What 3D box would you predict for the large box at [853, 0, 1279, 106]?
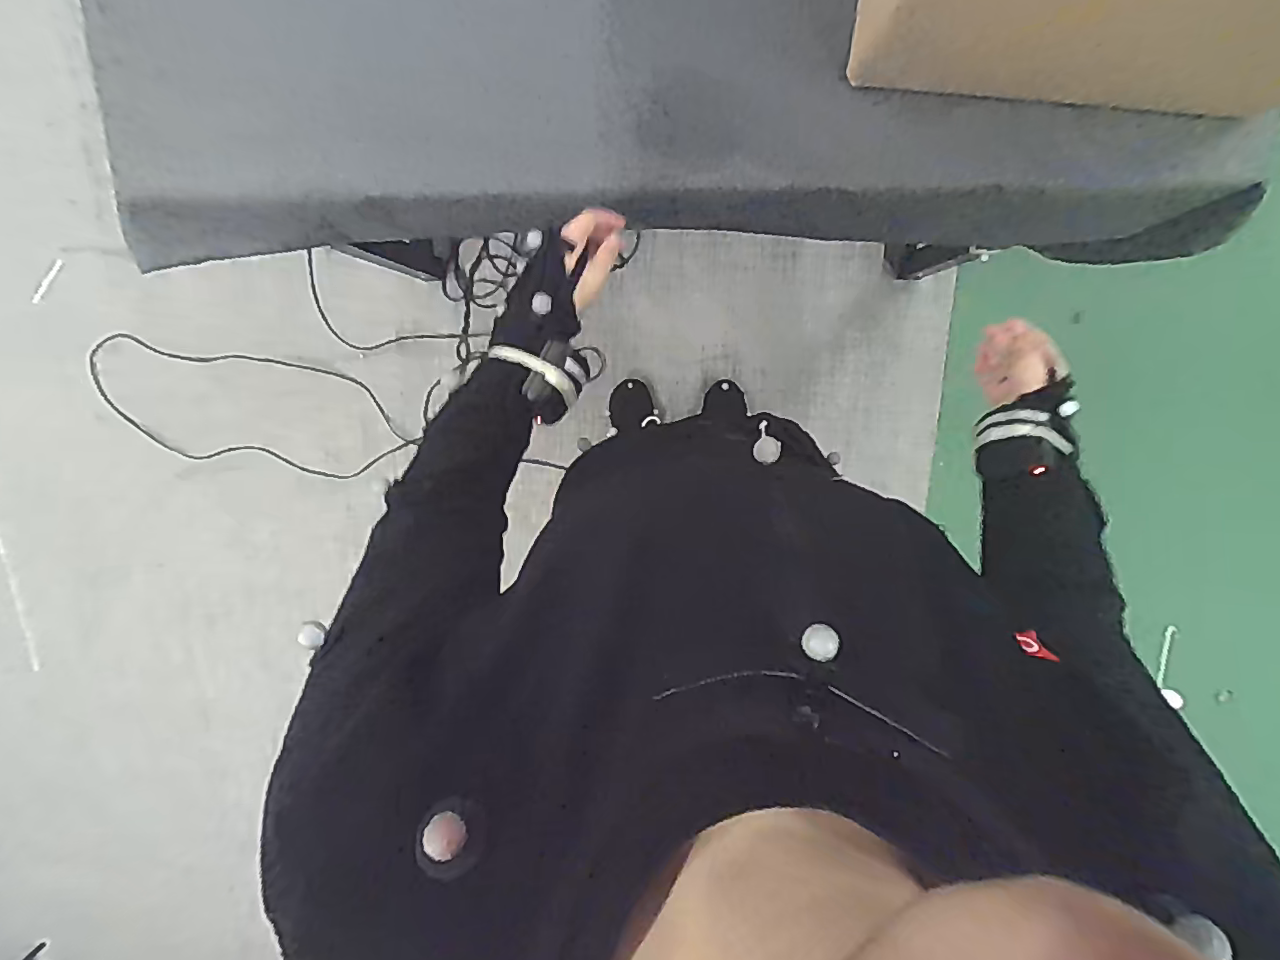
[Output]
[{"bbox_3d":[0.409,-0.499,0.360,0.408,0.320,0.320,5,102,1],"label":"large box"}]
